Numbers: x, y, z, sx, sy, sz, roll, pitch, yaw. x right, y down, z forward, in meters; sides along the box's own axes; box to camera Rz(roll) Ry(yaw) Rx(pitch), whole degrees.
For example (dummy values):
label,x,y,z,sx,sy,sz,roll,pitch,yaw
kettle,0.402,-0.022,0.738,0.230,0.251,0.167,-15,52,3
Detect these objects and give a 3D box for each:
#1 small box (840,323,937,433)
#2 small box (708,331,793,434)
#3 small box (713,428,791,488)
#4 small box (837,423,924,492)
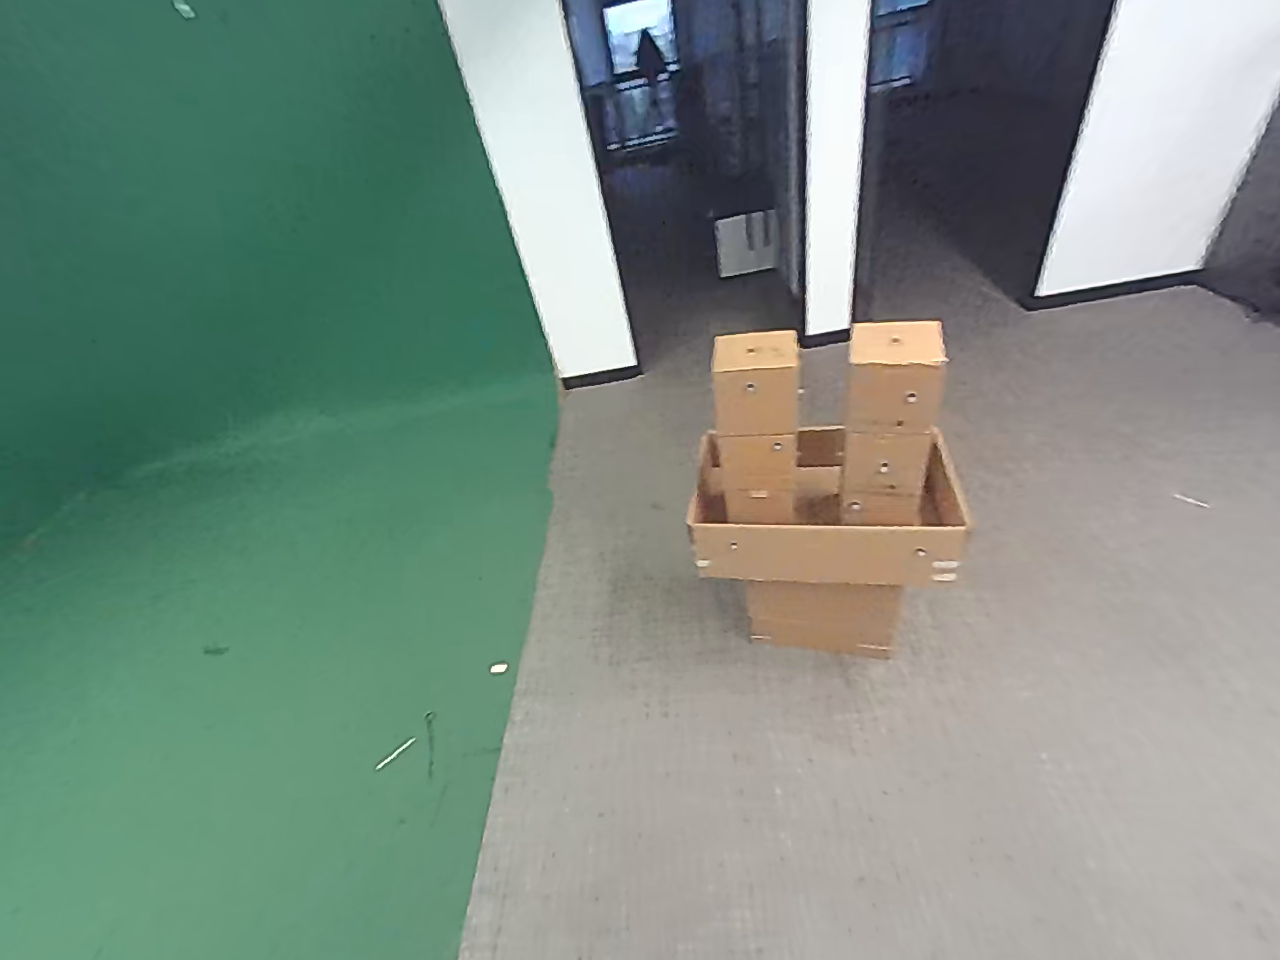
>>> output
label,x,y,z,sx,sy,sz,roll,pitch,yaw
small box,0.517,-0.213,1.137,0.168,0.176,0.179,5,42,20
small box,0.251,-0.215,1.216,0.179,0.176,0.168,-1,41,13
small box,0.277,-0.092,1.322,0.179,0.176,0.168,0,41,13
small box,0.547,-0.089,1.240,0.168,0.176,0.179,4,43,20
